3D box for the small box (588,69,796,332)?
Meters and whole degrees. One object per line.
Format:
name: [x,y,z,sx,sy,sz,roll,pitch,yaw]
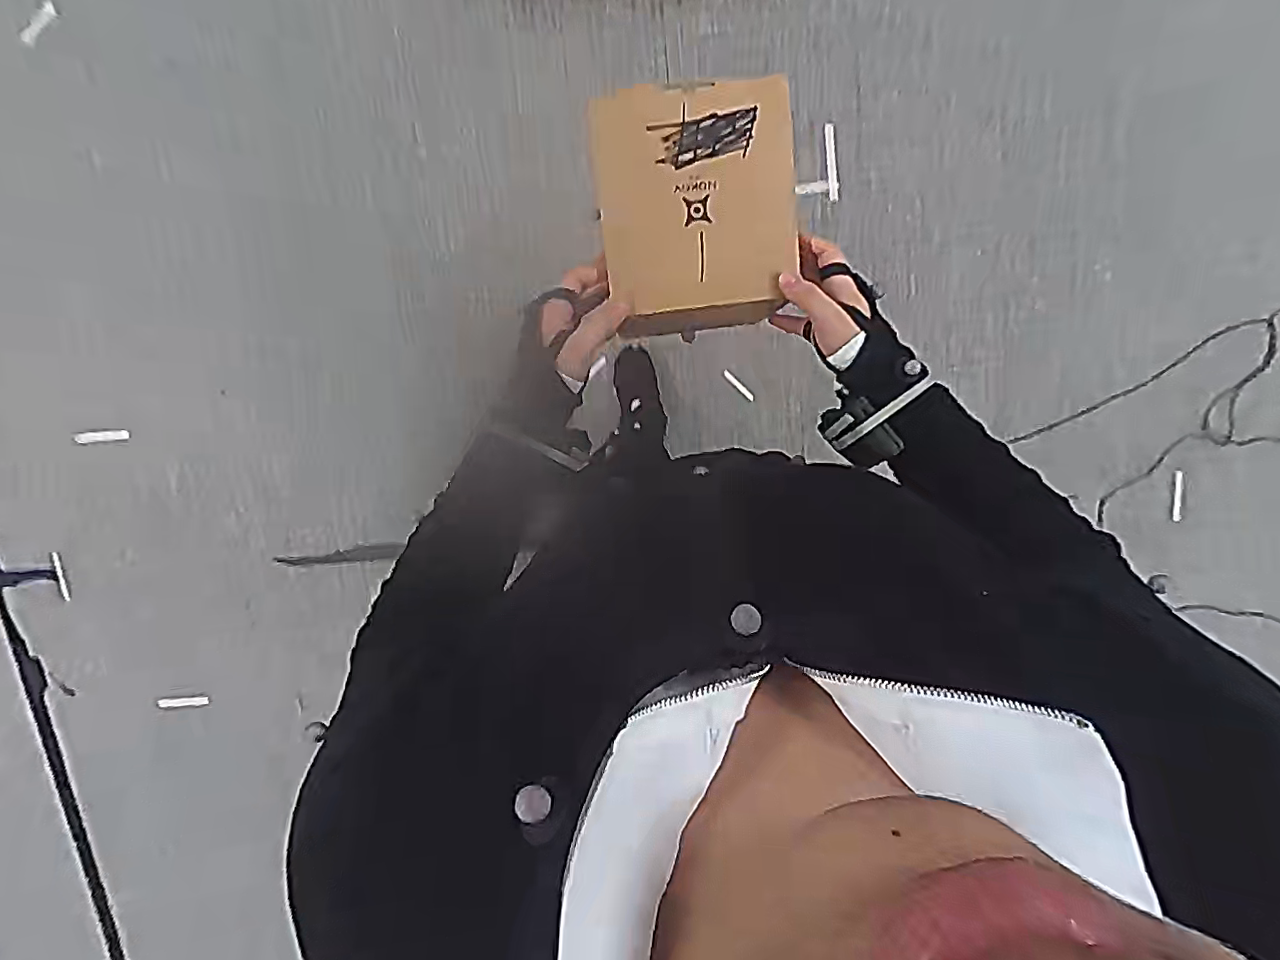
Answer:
small box: [0.043,-0.253,0.532,0.168,0.176,0.179,-6,98,1]
